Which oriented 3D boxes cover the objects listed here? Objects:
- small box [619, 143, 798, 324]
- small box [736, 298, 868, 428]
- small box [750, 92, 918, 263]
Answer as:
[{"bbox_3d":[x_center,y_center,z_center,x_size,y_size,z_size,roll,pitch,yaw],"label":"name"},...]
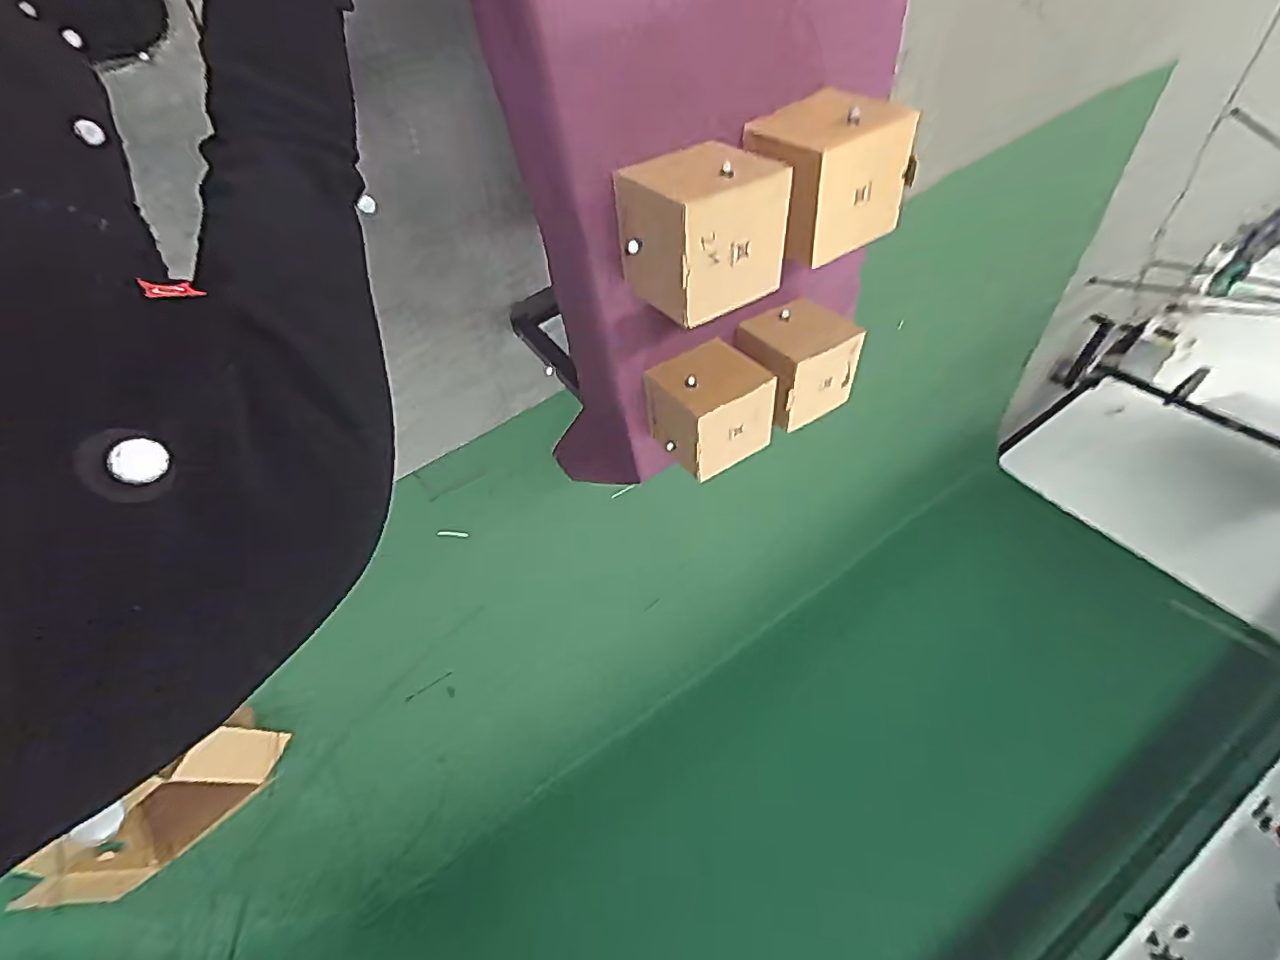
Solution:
[{"bbox_3d":[0.091,-0.355,0.768,0.179,0.176,0.168,-27,140,-18],"label":"small box"},{"bbox_3d":[0.312,-0.238,1.080,0.179,0.176,0.168,-26,140,-19],"label":"small box"},{"bbox_3d":[0.281,-0.467,0.830,0.179,0.176,0.168,-31,142,-14],"label":"small box"}]
